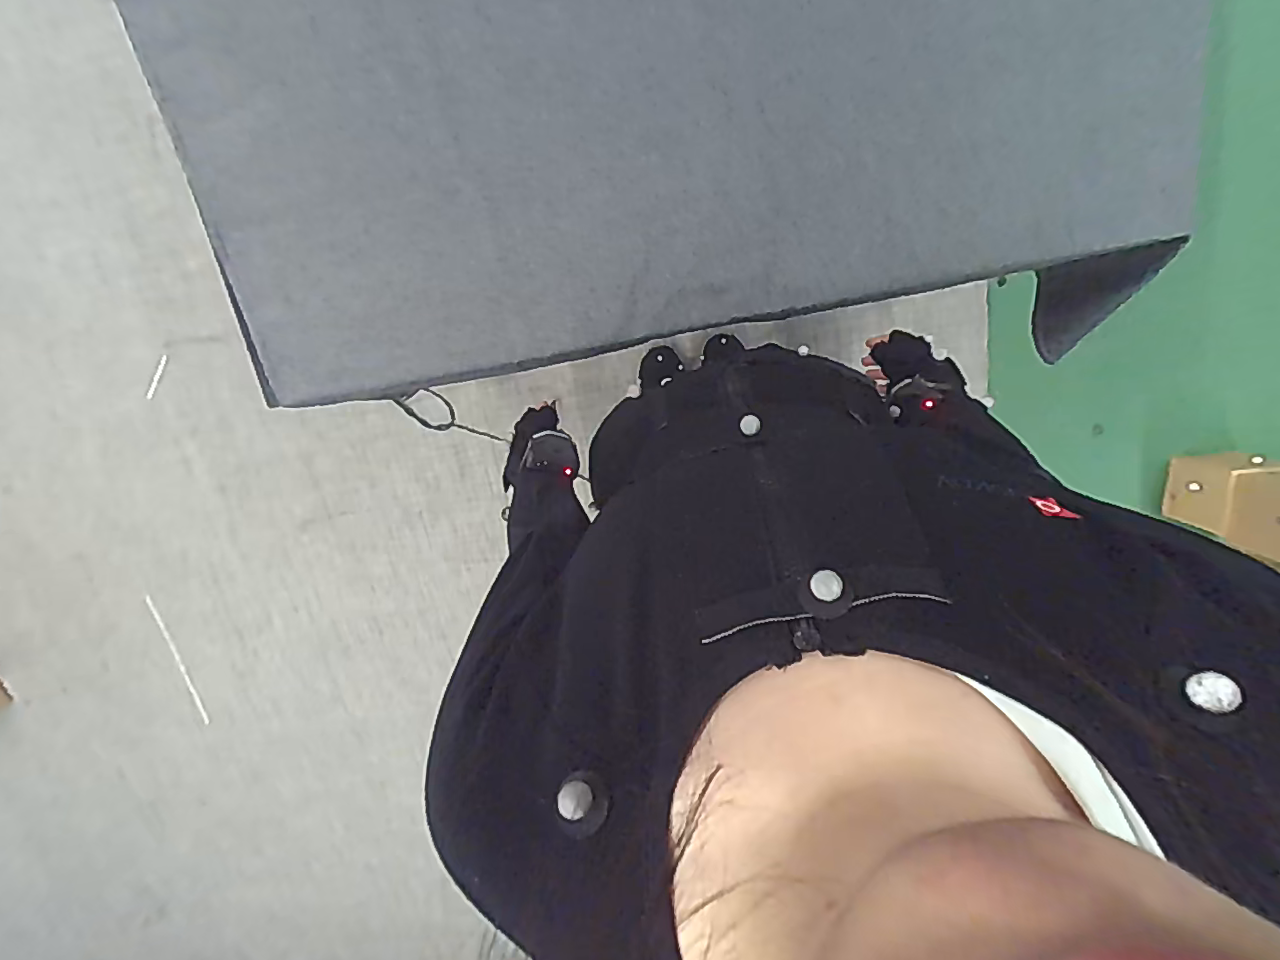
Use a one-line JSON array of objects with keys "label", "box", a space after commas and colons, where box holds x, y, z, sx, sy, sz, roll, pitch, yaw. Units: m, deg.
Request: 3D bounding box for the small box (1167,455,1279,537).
[{"label": "small box", "box": [1.498, 0.036, 1.365, 0.179, 0.176, 0.168, -4, 104, 3]}]

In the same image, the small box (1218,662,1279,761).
[{"label": "small box", "box": [1.604, 0.568, 1.328, 0.179, 0.176, 0.168, -7, 104, 4]}]

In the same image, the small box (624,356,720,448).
[{"label": "small box", "box": [0.078, -0.204, 1.384, 0.179, 0.176, 0.168, 32, 116, 12]}]

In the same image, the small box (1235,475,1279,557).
[{"label": "small box", "box": [1.502, 0.084, 1.207, 0.168, 0.176, 0.179, -5, 104, 4]}]
